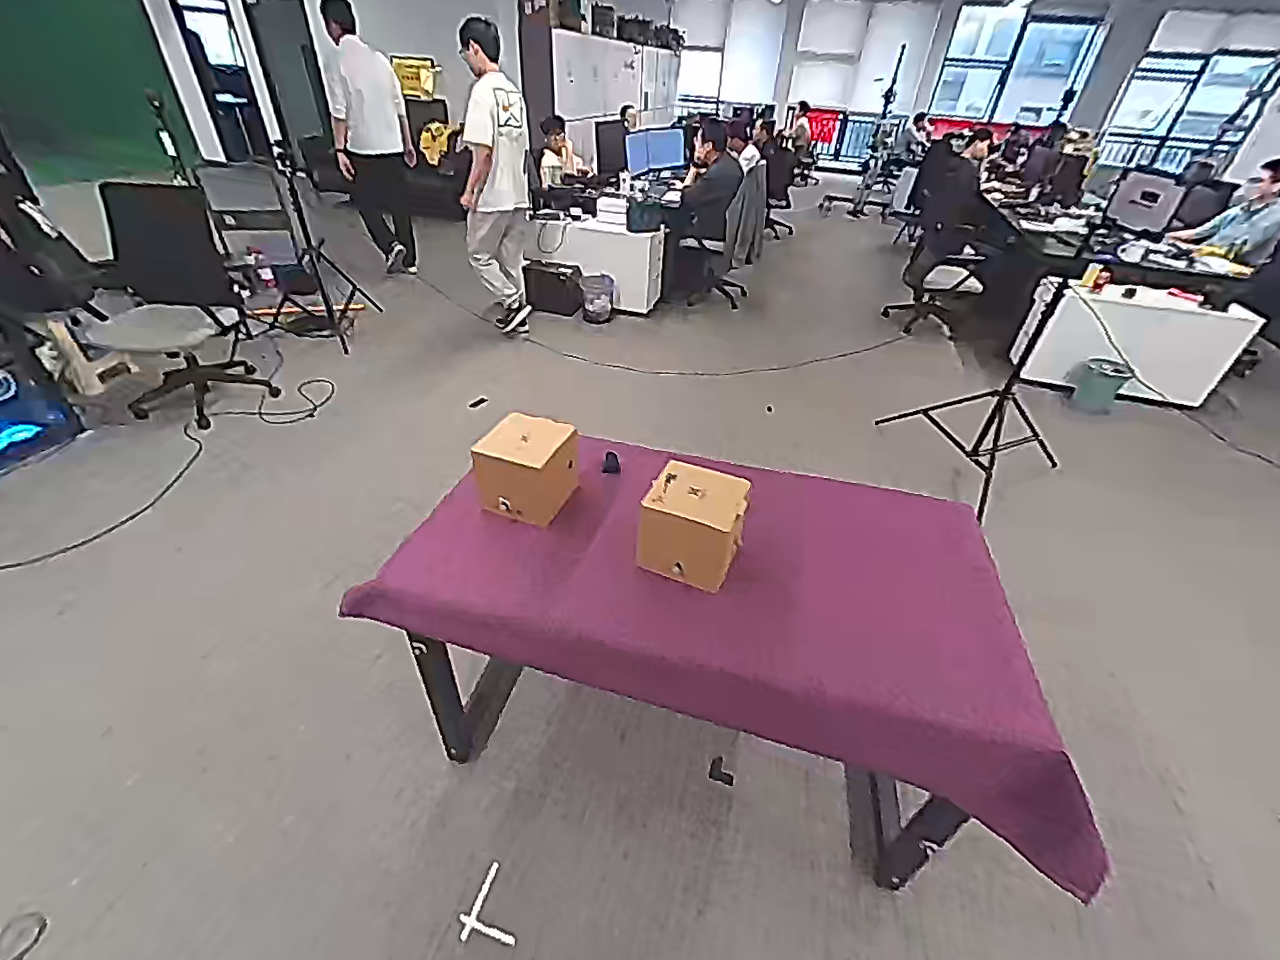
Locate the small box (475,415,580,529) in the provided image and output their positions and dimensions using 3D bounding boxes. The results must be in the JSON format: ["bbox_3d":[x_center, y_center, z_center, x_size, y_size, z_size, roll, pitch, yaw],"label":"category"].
[{"bbox_3d":[-0.243,-0.020,1.209,0.168,0.176,0.179,14,39,14],"label":"small box"}]

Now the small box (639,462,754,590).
[{"bbox_3d":[0.111,0.095,1.087,0.179,0.176,0.168,17,39,17],"label":"small box"}]
